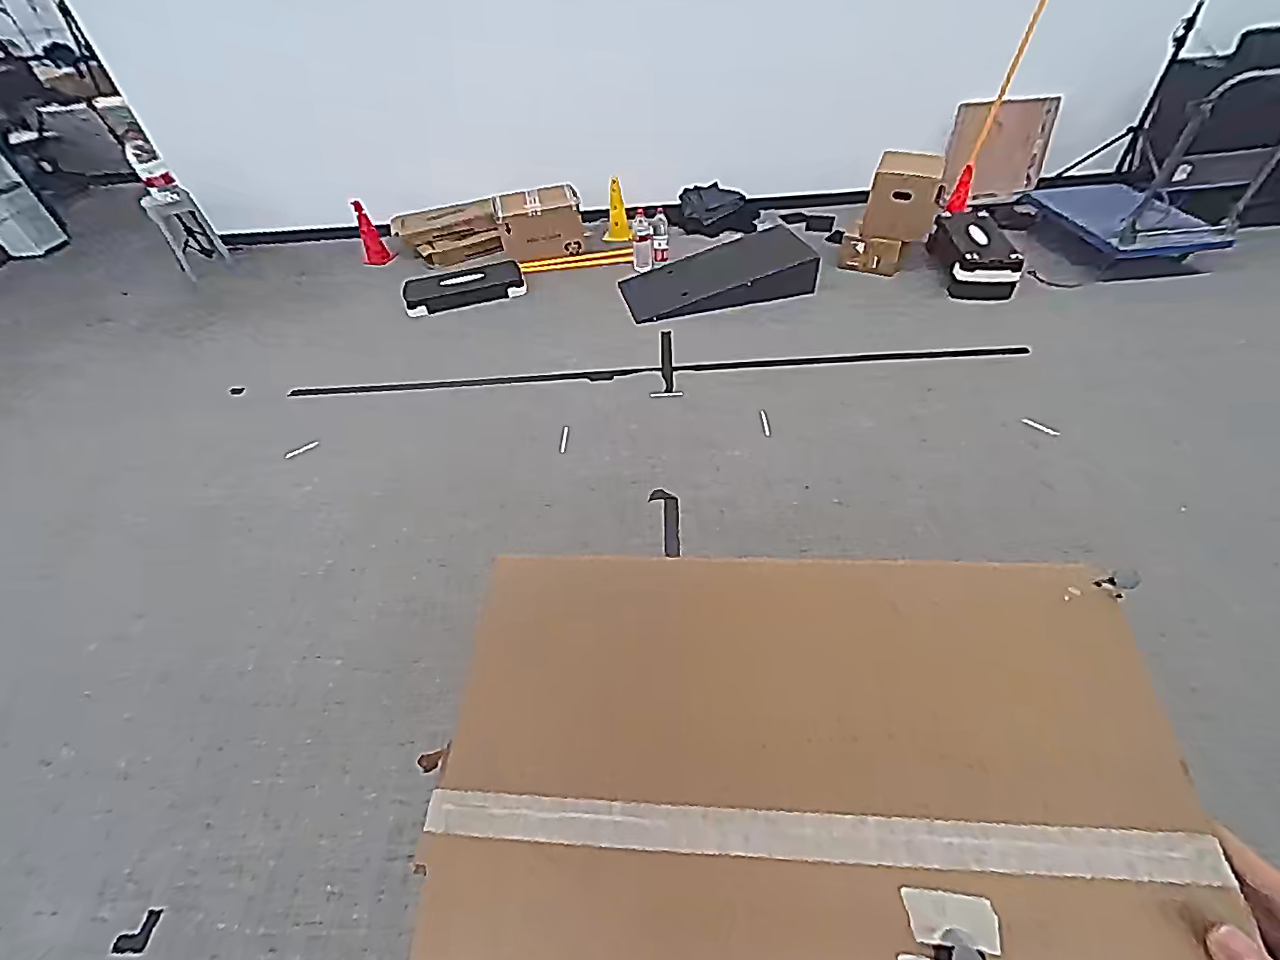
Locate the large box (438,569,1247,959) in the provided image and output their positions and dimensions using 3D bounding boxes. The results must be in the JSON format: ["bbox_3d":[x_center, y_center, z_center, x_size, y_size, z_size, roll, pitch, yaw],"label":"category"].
[{"bbox_3d":[0.103,0.272,0.424,0.408,0.320,0.320,0,59,5],"label":"large box"}]
